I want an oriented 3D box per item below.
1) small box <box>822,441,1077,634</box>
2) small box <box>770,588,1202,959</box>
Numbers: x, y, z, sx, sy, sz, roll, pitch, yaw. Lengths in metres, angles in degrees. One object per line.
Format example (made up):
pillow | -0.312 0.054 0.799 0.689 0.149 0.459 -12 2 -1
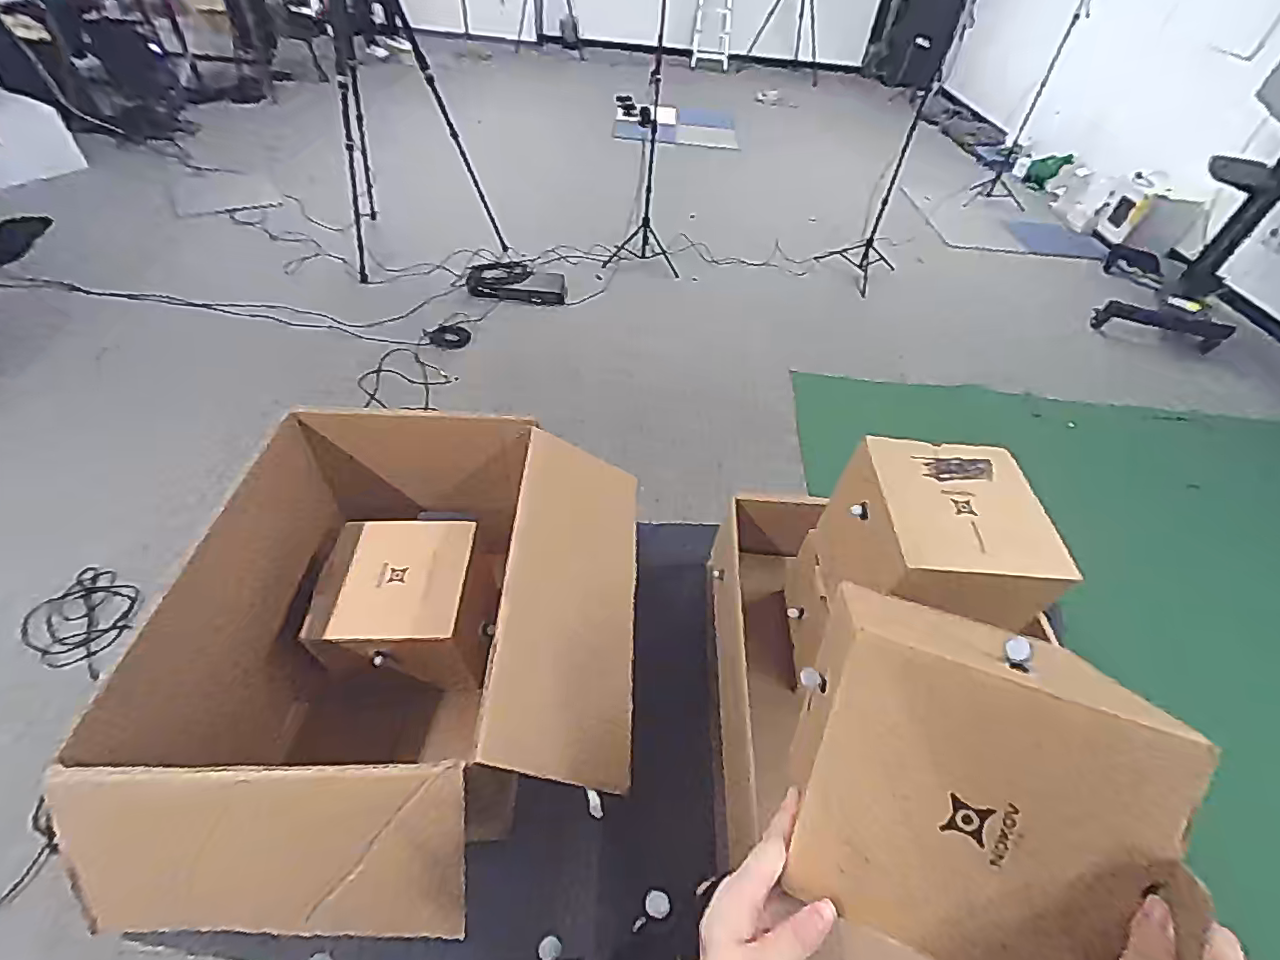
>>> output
small box | 0.321 0.081 0.611 0.168 0.176 0.179 4 49 -1
small box | 0.200 0.185 0.372 0.179 0.168 0.176 16 5 15
